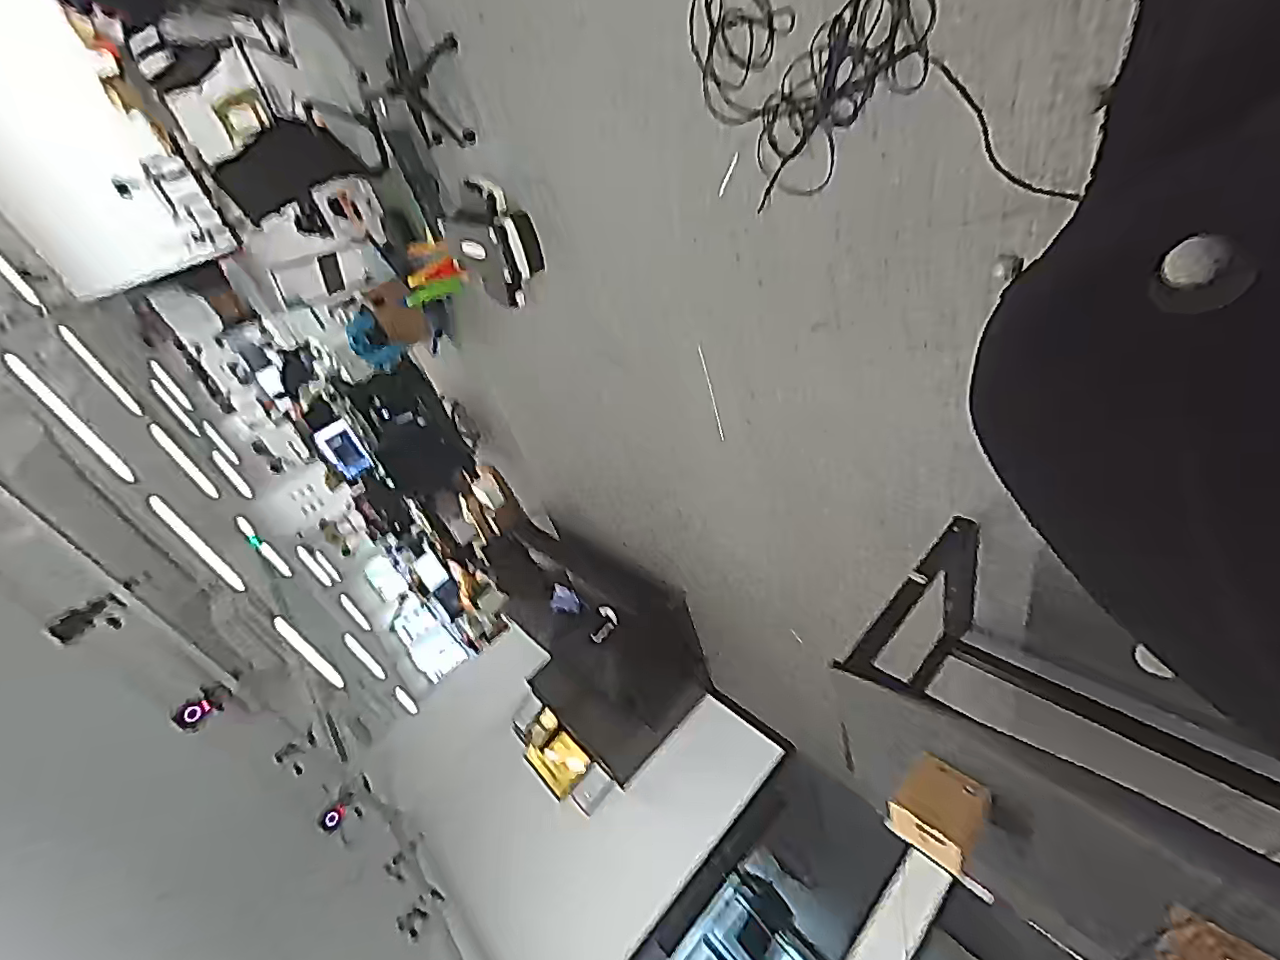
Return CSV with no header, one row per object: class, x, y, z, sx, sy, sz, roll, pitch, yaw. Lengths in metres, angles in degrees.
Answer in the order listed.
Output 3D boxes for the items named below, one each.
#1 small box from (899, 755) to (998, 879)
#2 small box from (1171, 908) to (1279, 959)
small box,0.775,0.838,1.359,0.168,0.176,0.179,21,141,47
small box,1.089,0.951,0.991,0.168,0.176,0.179,16,138,50
